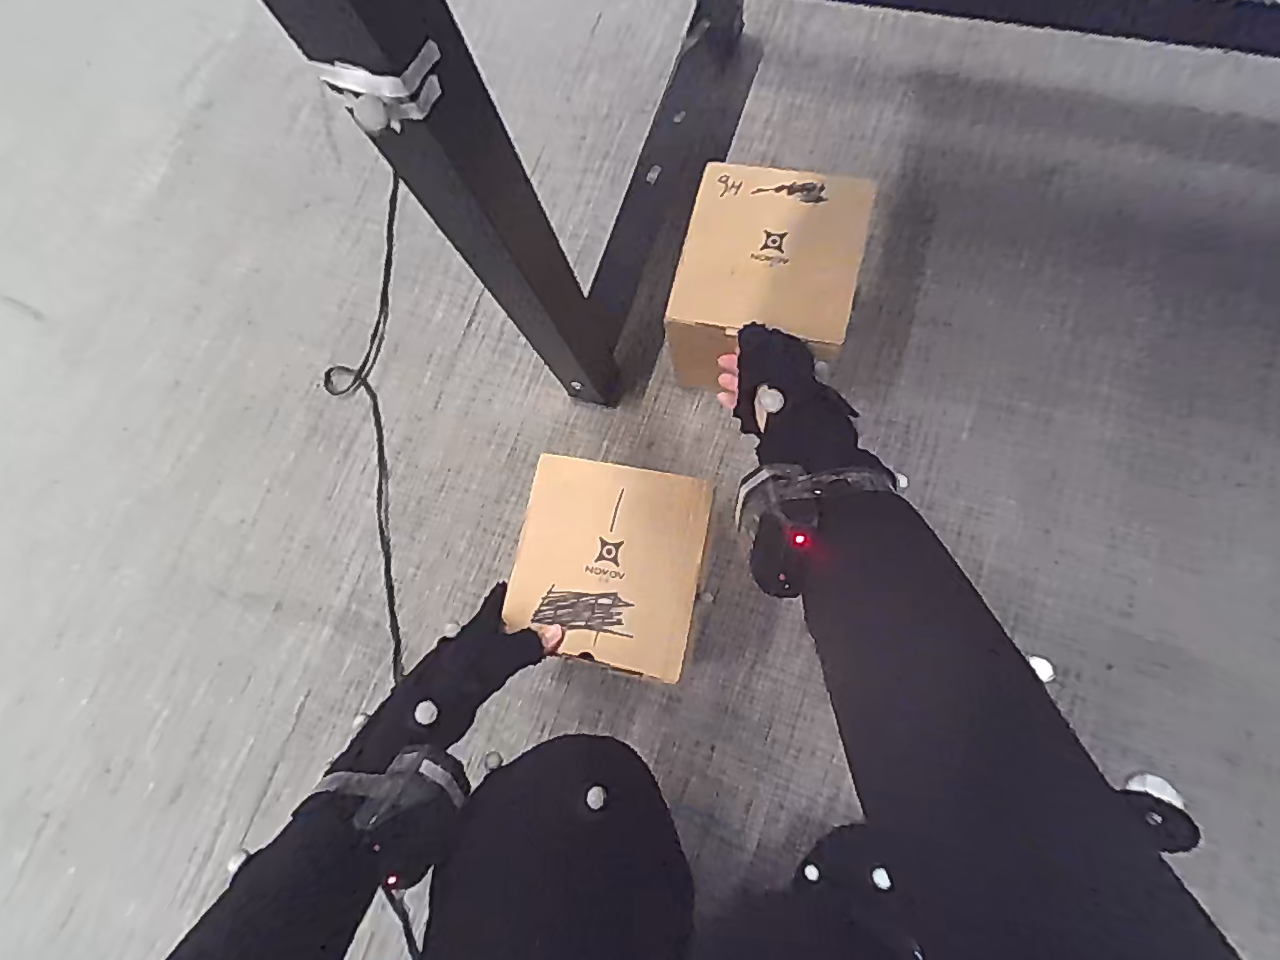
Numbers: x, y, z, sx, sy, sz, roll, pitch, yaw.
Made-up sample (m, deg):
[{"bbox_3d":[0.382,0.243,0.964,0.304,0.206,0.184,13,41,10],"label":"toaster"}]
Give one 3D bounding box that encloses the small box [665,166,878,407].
[{"bbox_3d":[0.136,-0.196,0.589,0.168,0.176,0.179,15,82,10],"label":"small box"}]
